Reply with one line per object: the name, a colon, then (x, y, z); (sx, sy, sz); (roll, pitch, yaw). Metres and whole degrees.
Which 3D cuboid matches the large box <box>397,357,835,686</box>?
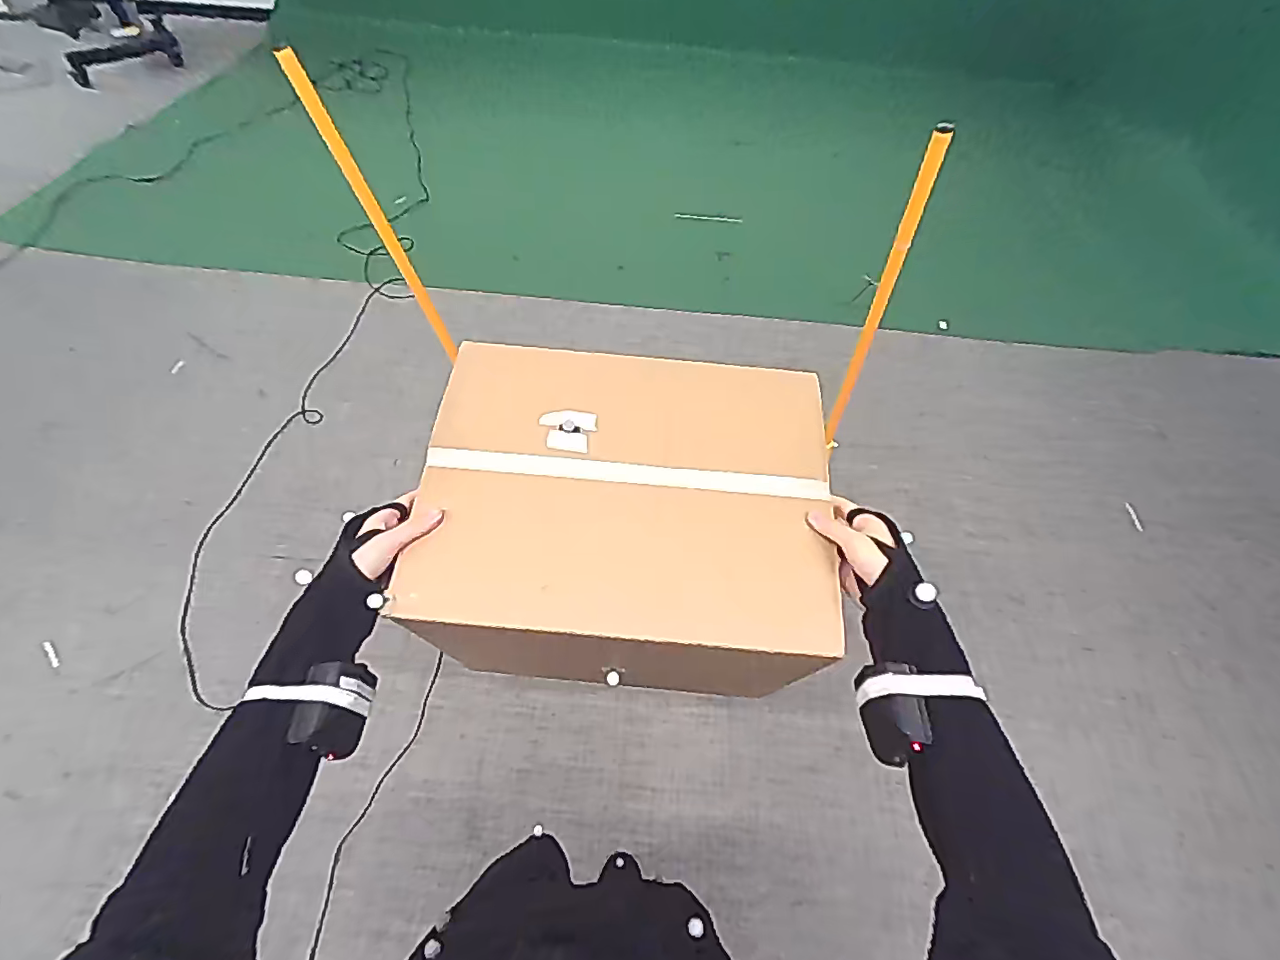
large box: (-0.015, 0.073, 0.684); (0.408, 0.320, 0.320); (4, 62, 1)
